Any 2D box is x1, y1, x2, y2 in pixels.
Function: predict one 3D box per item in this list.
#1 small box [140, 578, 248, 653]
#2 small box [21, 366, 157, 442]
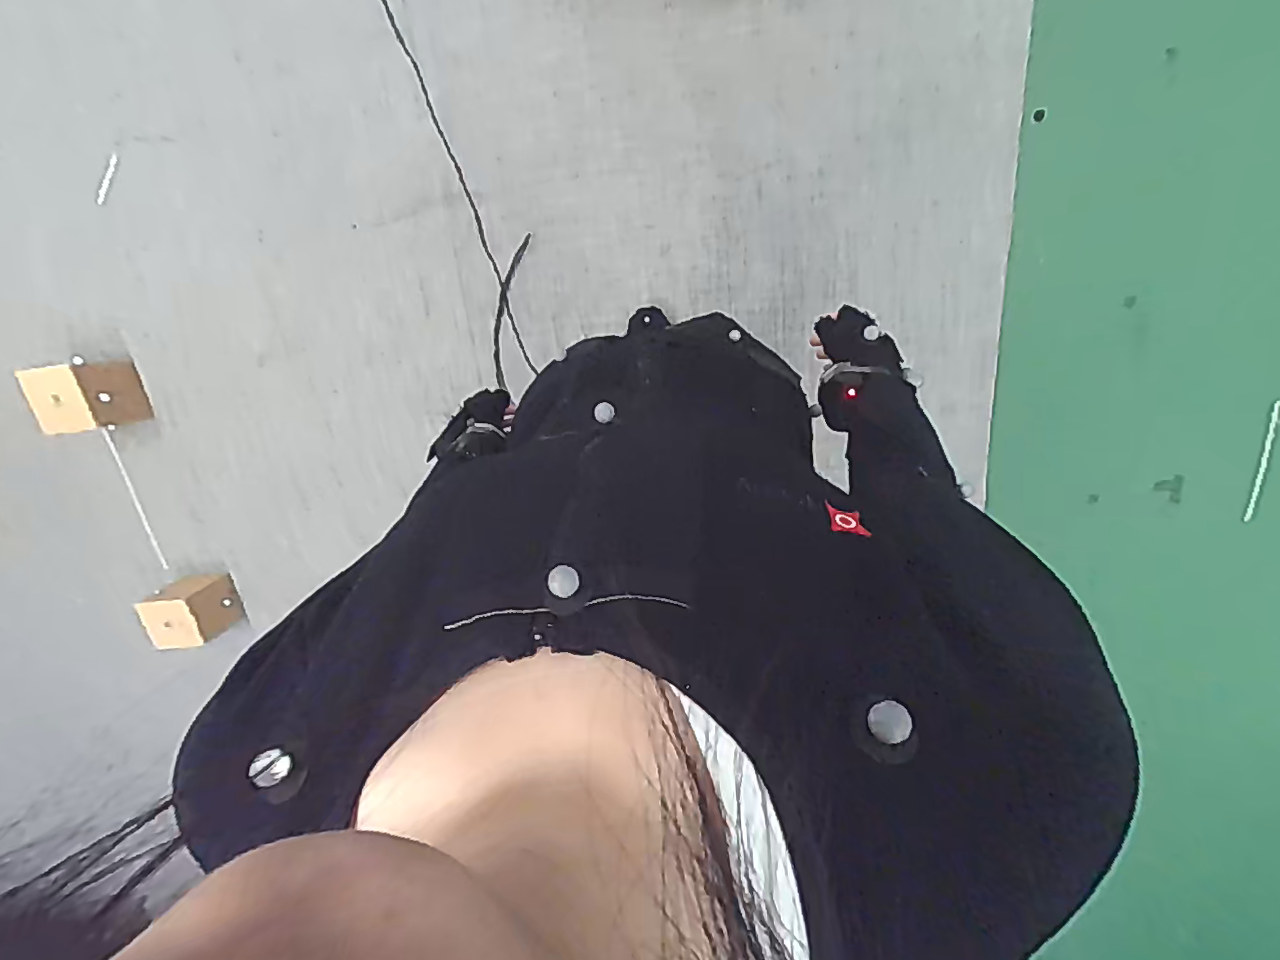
[{"bbox_3d":[-1.400,0.425,1.709,0.179,0.176,0.168,-6,109,7],"label":"small box"},{"bbox_3d":[-1.513,-0.217,1.497,0.168,0.176,0.179,-6,109,7],"label":"small box"}]
